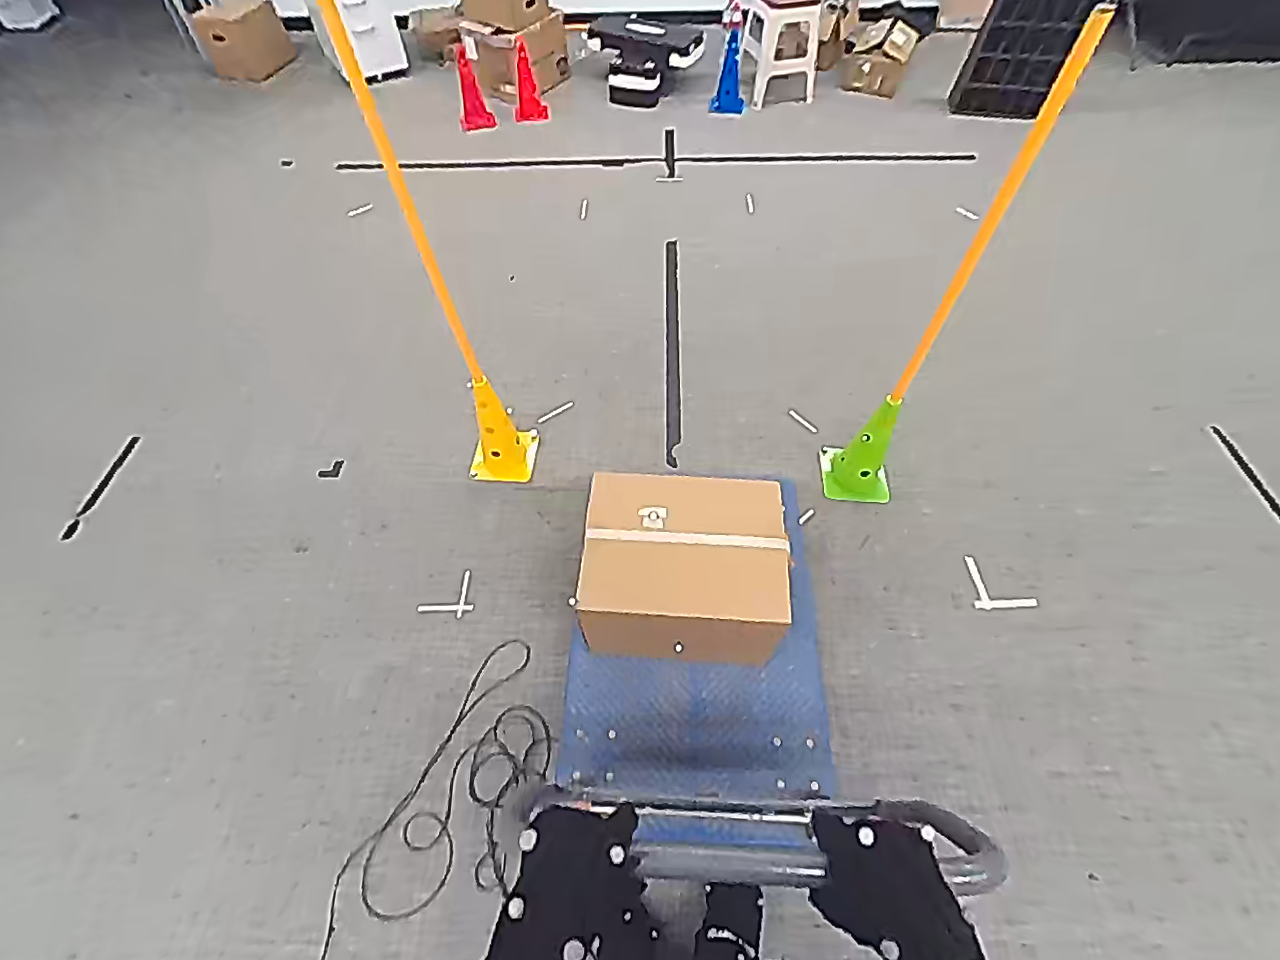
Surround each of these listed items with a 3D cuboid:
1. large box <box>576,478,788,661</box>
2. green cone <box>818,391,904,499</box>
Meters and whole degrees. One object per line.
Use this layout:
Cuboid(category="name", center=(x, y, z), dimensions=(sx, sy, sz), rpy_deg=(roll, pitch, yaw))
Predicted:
Cuboid(category="large box", center=(0.091, 0.208, 1.212), dimensions=(0.408, 0.320, 0.320), rpy_deg=(2, 57, 4))
Cuboid(category="green cone", center=(0.682, -0.123, 1.594), dimensions=(0.202, 0.368, 0.200), rpy_deg=(4, 57, 2))
